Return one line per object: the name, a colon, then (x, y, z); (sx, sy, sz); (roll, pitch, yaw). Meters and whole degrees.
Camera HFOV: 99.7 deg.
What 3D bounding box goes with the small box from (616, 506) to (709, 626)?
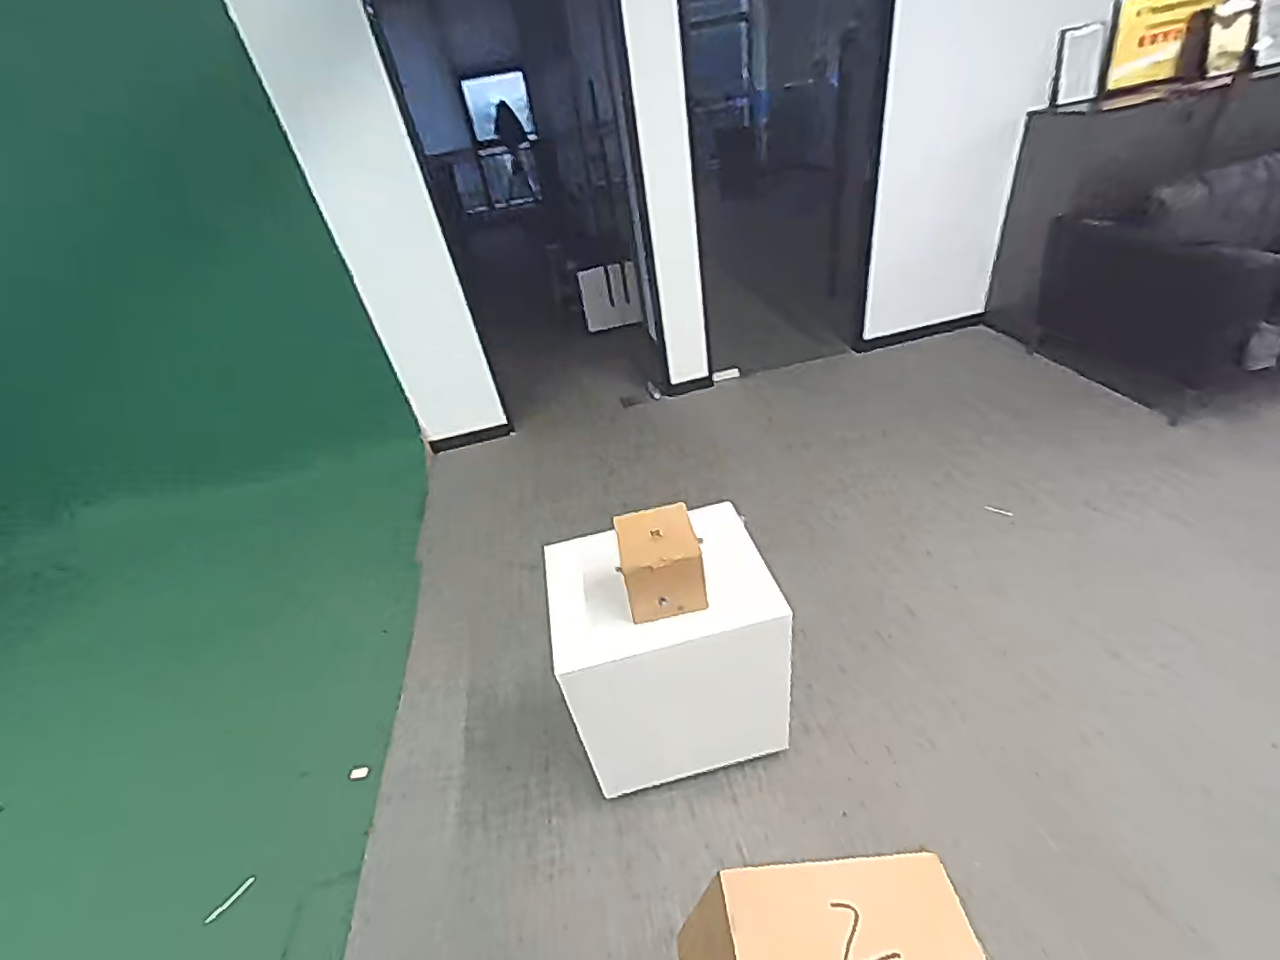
small box: (0.047, 0.187, 1.178); (0.168, 0.176, 0.179); (-12, 34, -2)
